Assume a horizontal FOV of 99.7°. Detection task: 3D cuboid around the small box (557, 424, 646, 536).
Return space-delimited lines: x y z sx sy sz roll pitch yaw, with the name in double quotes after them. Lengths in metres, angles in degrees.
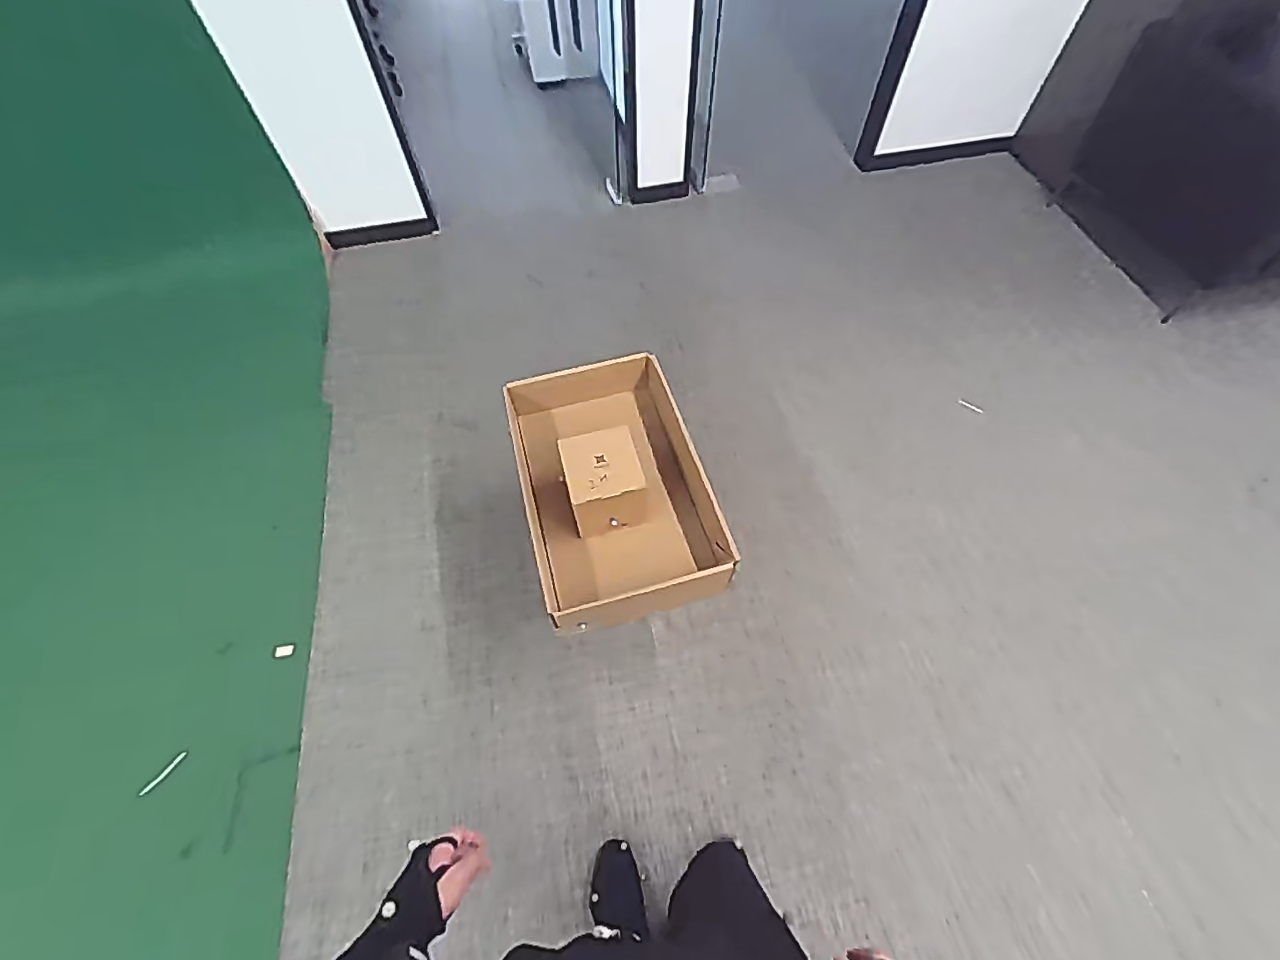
-0.087 0.003 1.242 0.168 0.176 0.179 -14 59 -7 "small box"
